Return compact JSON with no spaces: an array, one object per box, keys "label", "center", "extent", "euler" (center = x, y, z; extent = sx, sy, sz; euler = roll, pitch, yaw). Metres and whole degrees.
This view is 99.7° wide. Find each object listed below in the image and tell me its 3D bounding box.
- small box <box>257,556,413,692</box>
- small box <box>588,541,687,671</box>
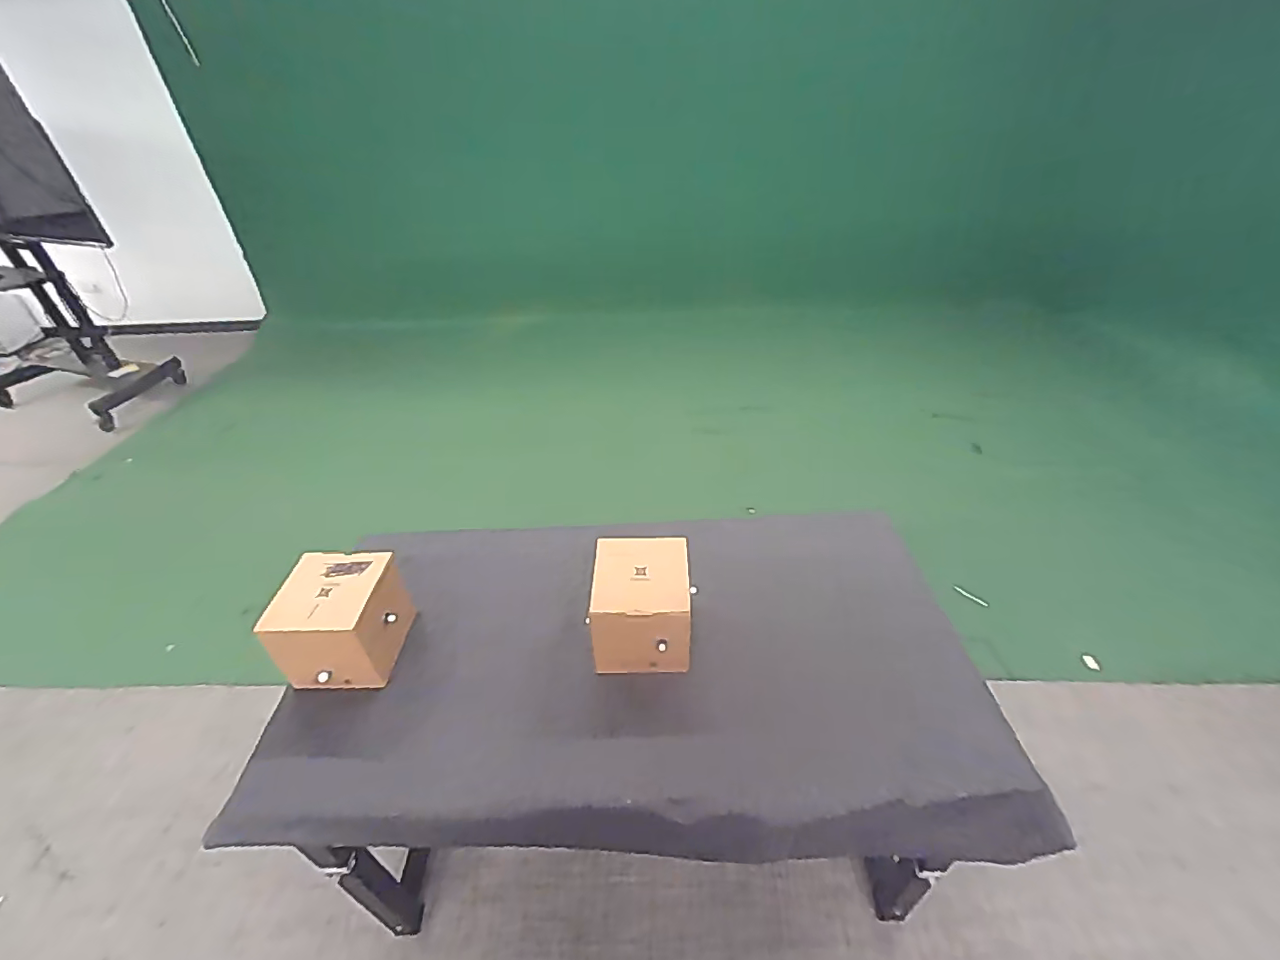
[{"label":"small box","center":[-0.531,0.258,0.976],"extent":[0.168,0.176,0.179],"euler":[-1,39,1]},{"label":"small box","center":[-0.001,0.232,0.989],"extent":[0.168,0.176,0.179],"euler":[0,37,0]}]
